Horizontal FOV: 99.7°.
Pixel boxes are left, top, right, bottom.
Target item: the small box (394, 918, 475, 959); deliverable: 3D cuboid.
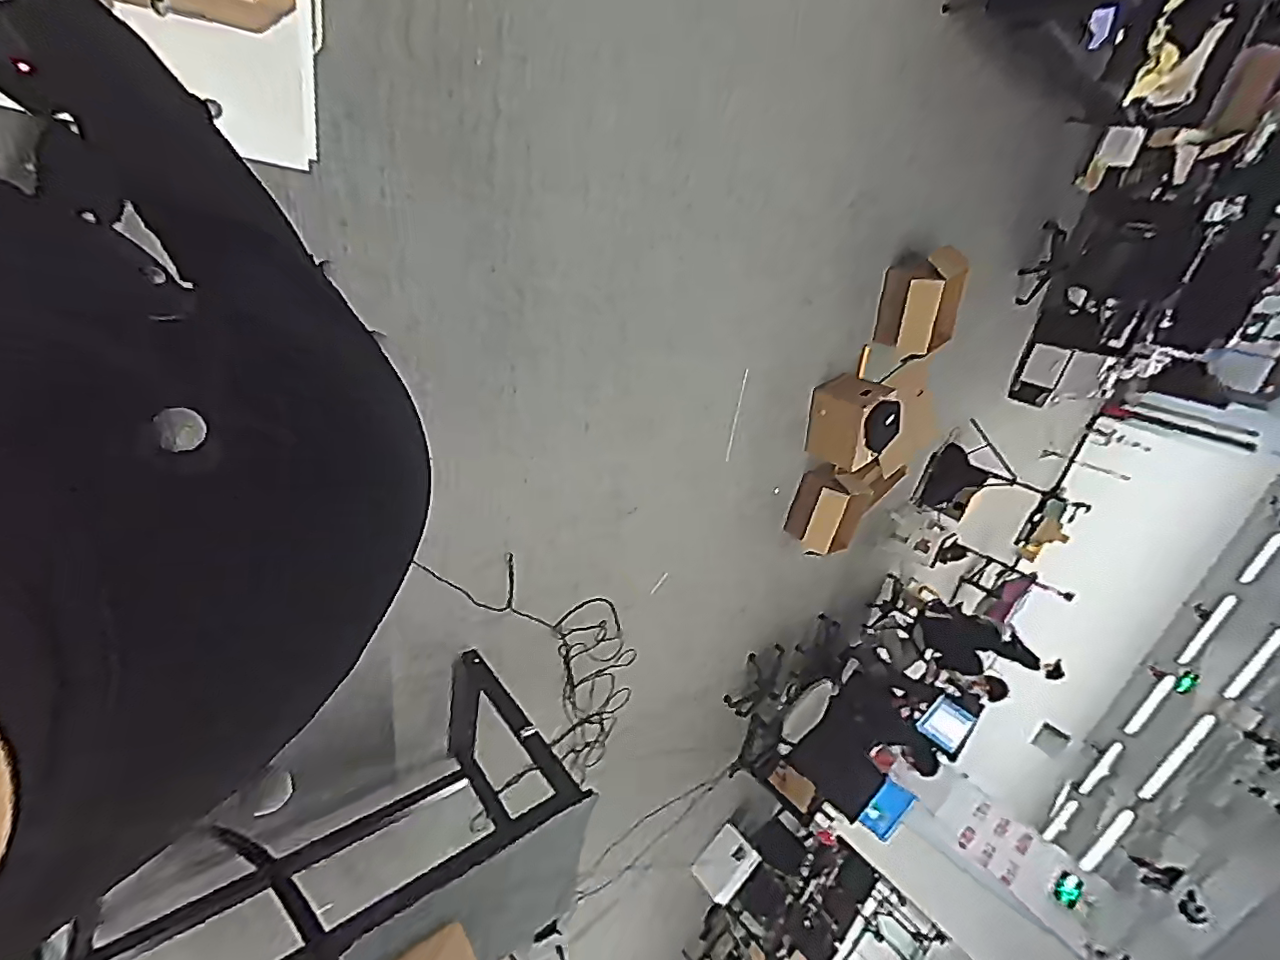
[{"bbox_3d":[-0.506,1.249,1.337,0.179,0.176,0.168,-12,123,-39],"label":"small box"}]
